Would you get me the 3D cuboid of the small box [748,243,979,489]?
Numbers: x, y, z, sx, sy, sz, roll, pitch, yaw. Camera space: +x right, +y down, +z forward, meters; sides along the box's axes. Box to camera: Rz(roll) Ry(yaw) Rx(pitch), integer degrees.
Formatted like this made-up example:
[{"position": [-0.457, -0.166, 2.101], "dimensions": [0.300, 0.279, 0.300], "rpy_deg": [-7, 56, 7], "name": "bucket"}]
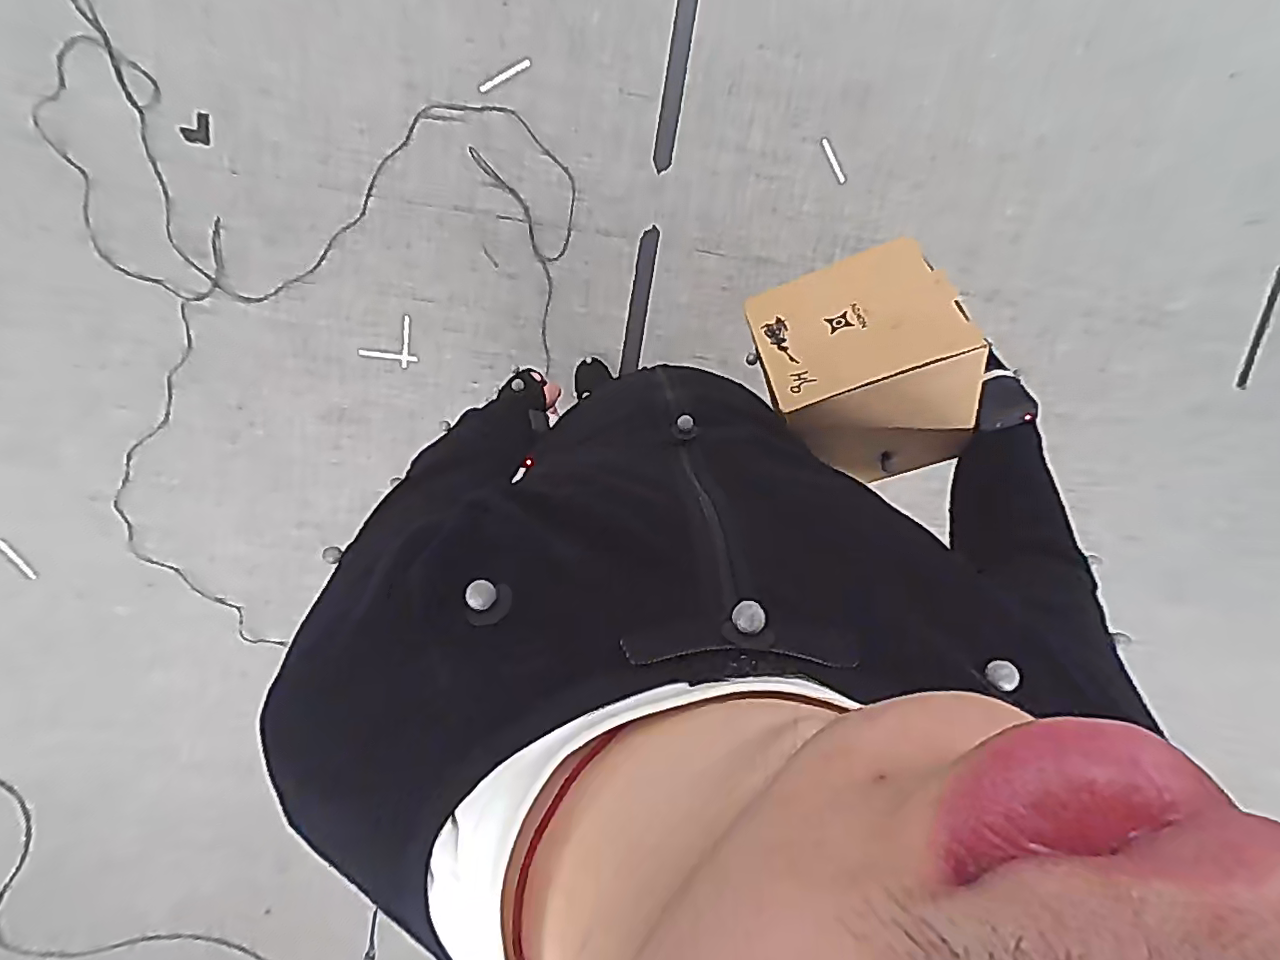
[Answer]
[{"position": [0.234, -0.115, 0.595], "dimensions": [0.179, 0.168, 0.176], "rpy_deg": [-18, 143, 14], "name": "small box"}]
